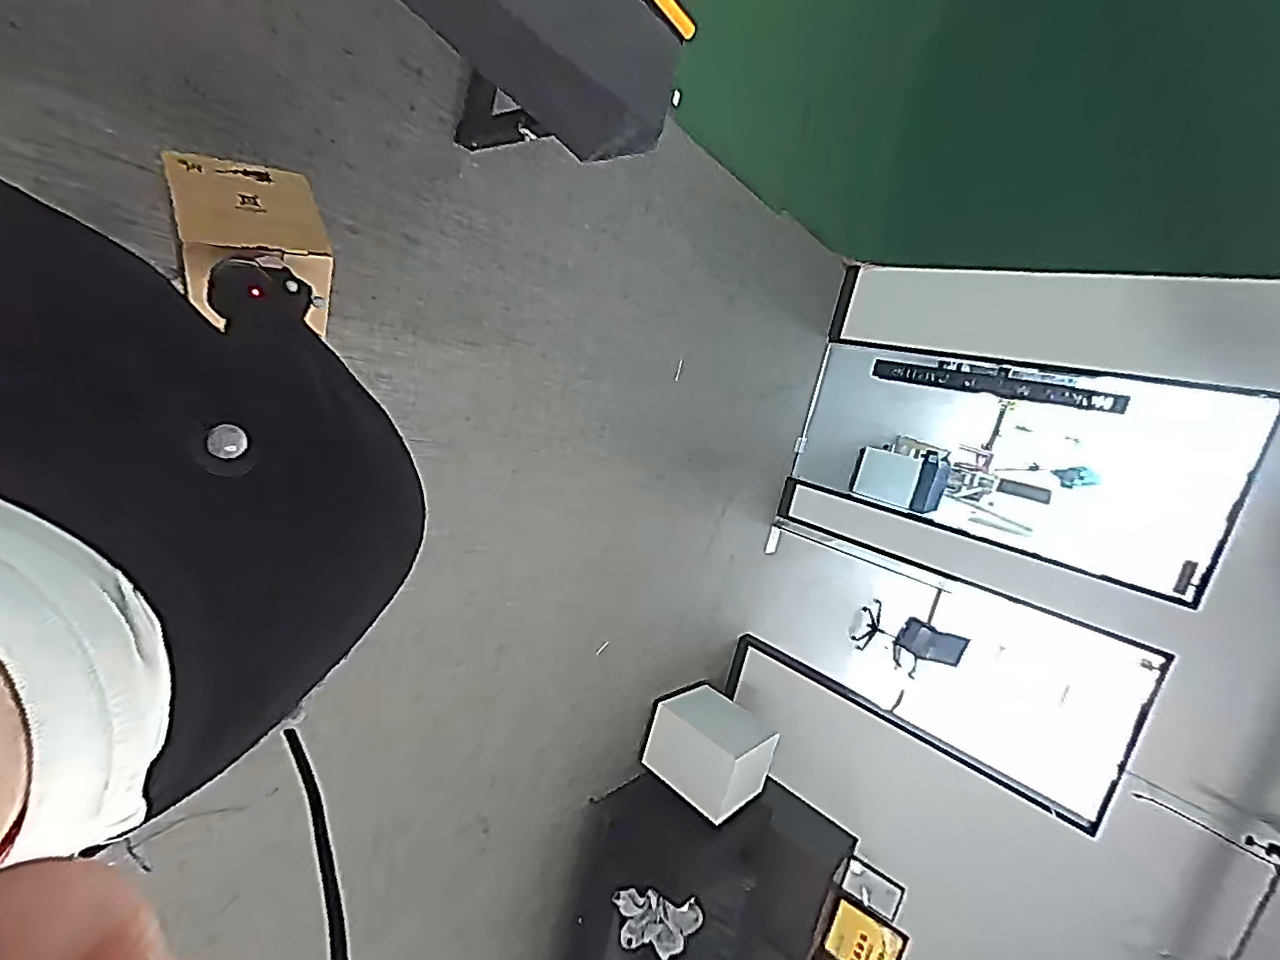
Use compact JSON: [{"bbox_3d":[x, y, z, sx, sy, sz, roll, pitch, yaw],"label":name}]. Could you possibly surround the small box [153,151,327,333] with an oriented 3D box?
[{"bbox_3d":[-0.565,-0.329,0.780,0.168,0.179,0.176,-14,158,-38],"label":"small box"}]
